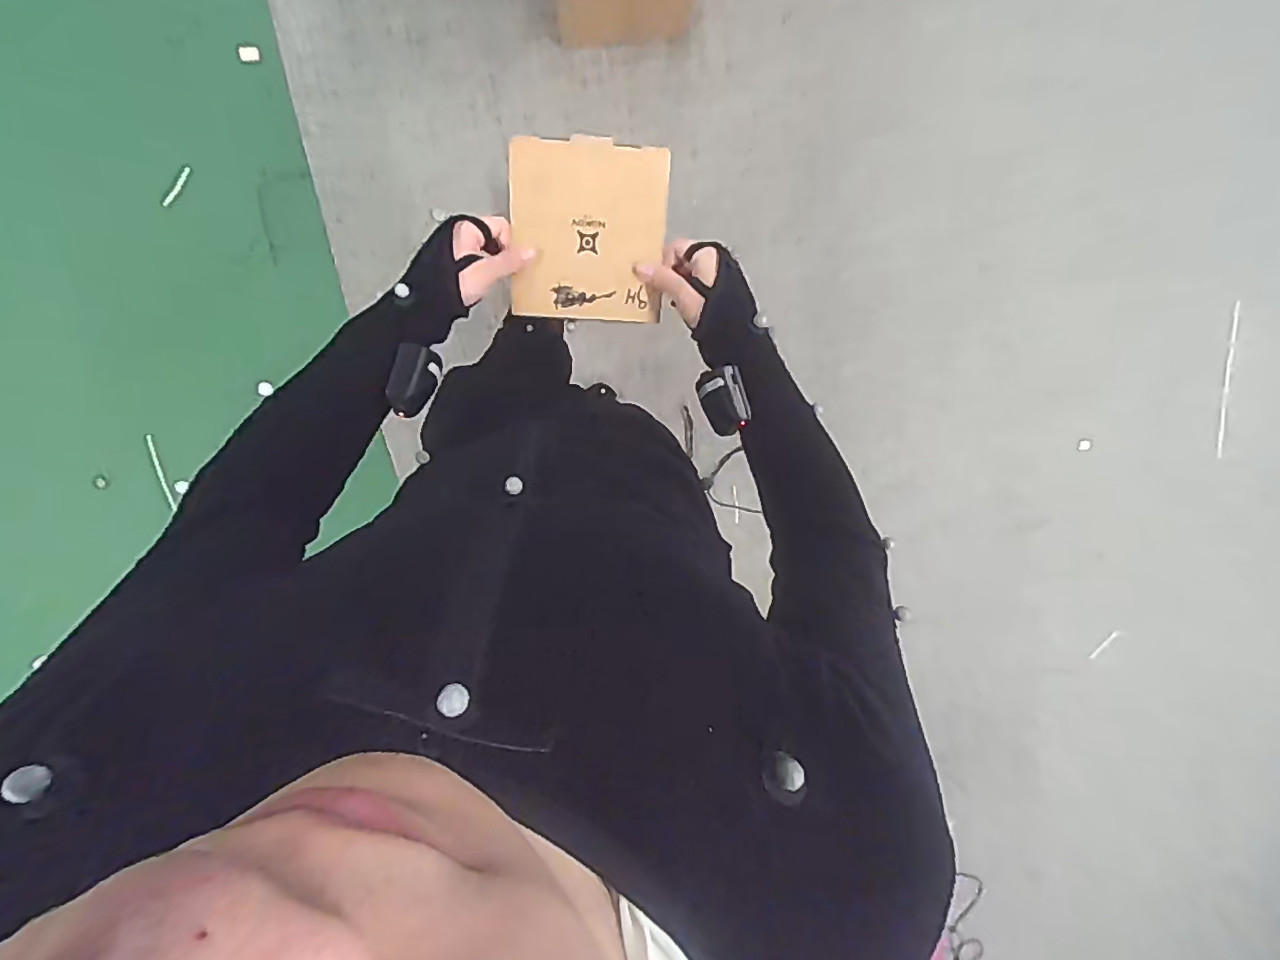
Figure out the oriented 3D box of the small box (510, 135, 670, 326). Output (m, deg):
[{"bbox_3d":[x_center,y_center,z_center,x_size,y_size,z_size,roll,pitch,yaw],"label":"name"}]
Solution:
[{"bbox_3d":[-0.062,-0.282,0.650,0.168,0.176,0.179,2,106,-5],"label":"small box"}]
